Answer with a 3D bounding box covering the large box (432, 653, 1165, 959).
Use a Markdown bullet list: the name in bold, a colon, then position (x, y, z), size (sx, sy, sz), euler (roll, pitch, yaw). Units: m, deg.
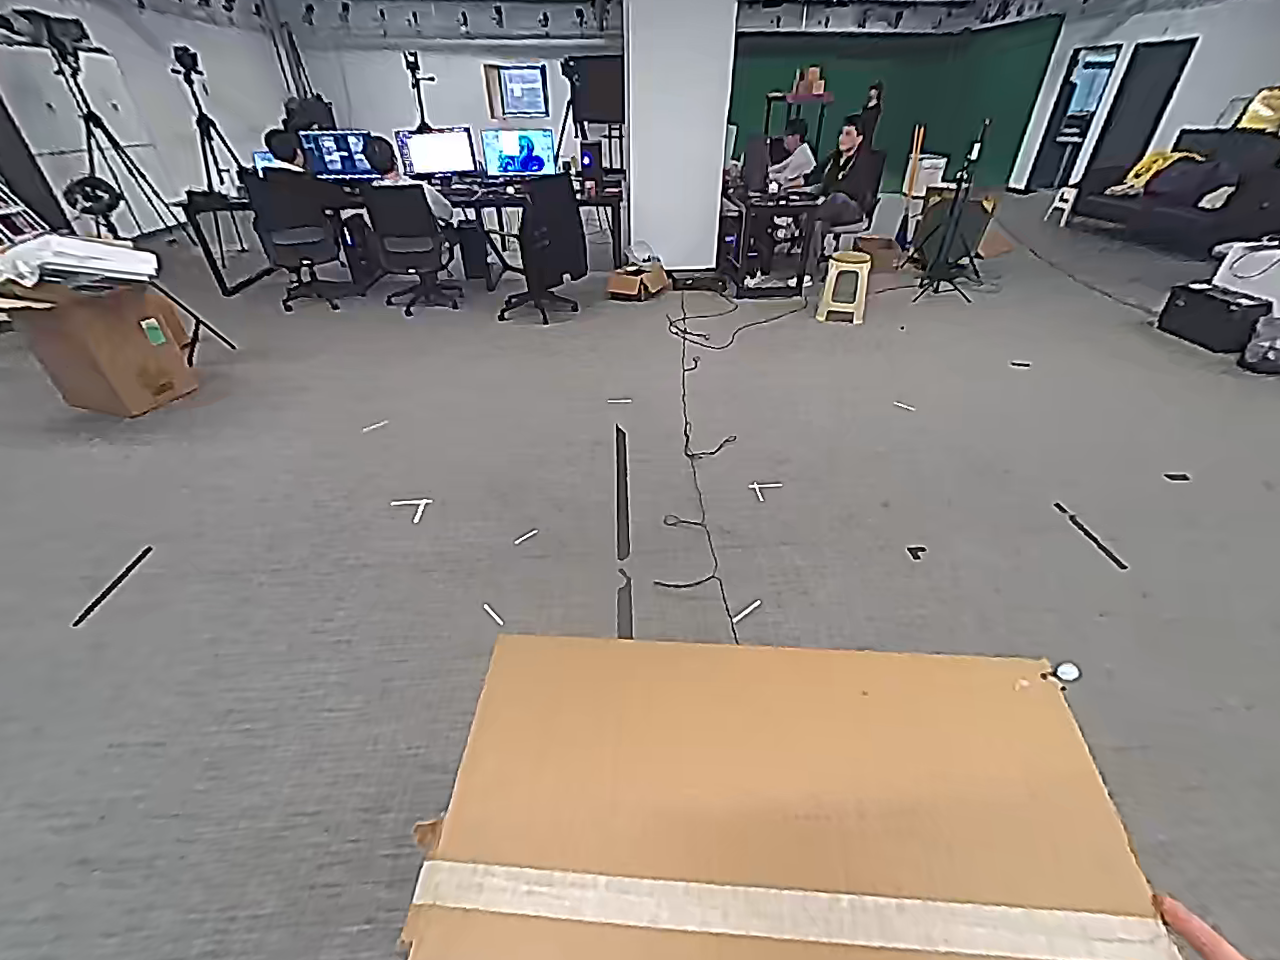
- **large box**: position (0.088, 0.350, 0.415), size (0.408, 0.320, 0.320), euler (1, 48, 4)
